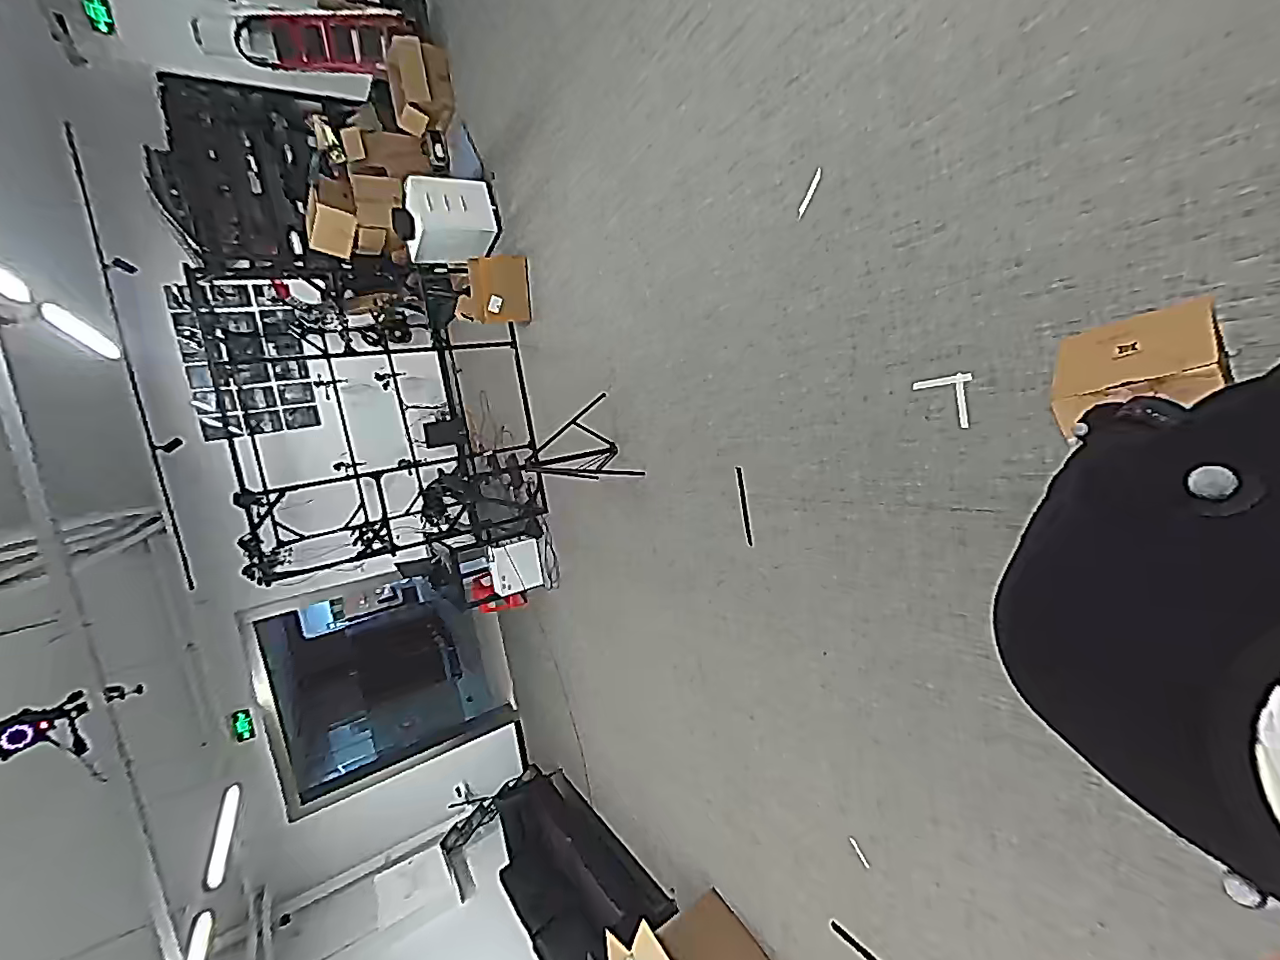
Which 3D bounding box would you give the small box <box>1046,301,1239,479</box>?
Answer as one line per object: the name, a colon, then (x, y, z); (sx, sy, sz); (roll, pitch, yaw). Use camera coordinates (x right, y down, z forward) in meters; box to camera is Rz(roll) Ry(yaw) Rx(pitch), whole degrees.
small box: (0.709, -0.114, 0.767); (0.168, 0.179, 0.176); (-13, 119, 49)
